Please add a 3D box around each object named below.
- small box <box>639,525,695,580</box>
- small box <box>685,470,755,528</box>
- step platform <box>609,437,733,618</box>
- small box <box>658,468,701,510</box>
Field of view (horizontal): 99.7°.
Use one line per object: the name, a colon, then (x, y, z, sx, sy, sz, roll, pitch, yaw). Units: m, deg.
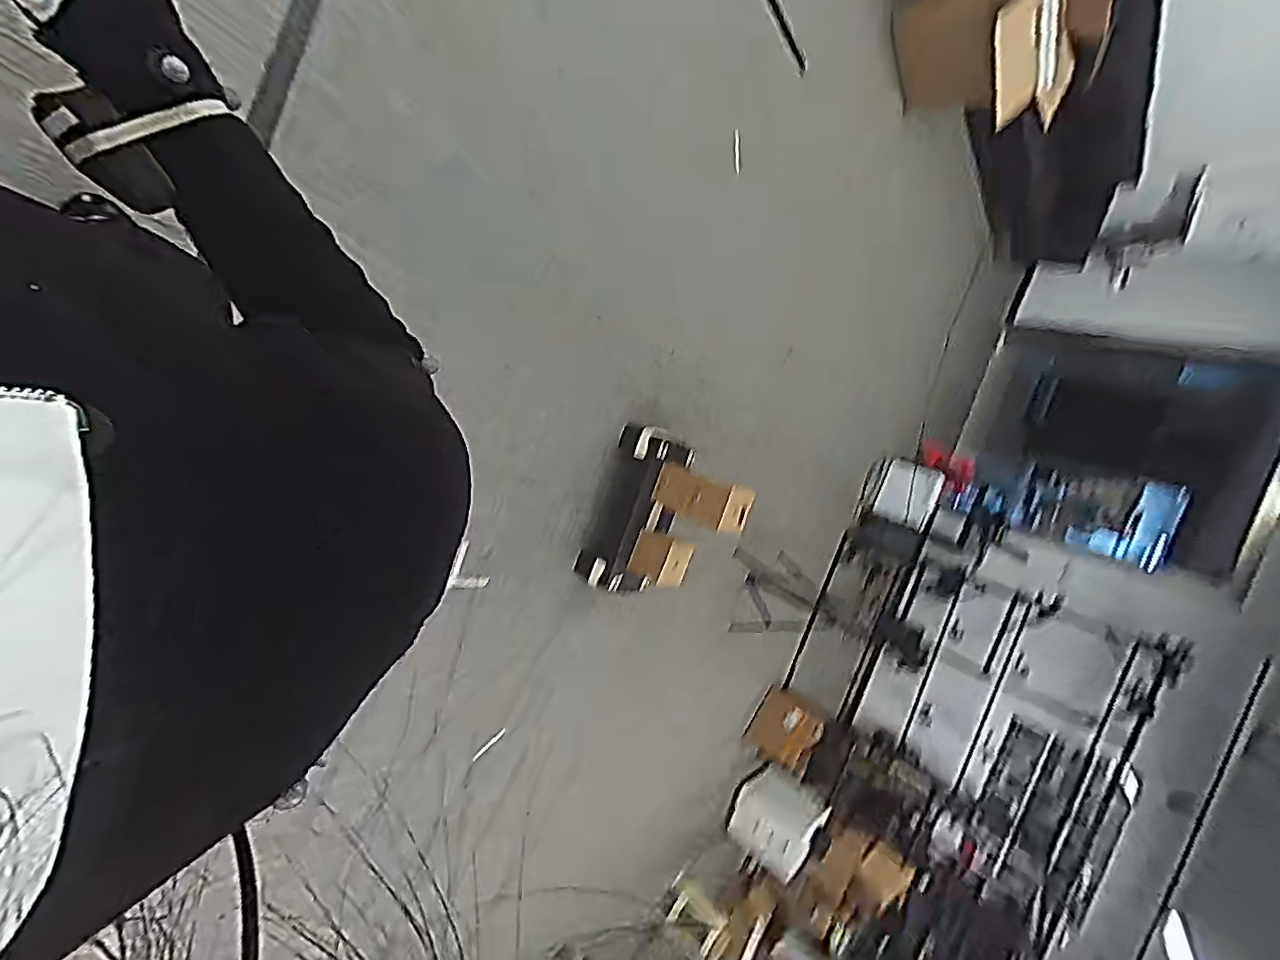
small box: (0.085, 0.286, 2.173, 0.168, 0.176, 0.179, 15, 96, -51)
small box: (0.300, 0.071, 2.052, 0.179, 0.176, 0.168, 12, 98, -50)
step platform: (0.120, 0.179, 2.105, 0.286, 0.204, 0.684, 14, 97, -51)
small box: (0.180, 0.022, 2.153, 0.179, 0.176, 0.168, 14, 97, -50)
